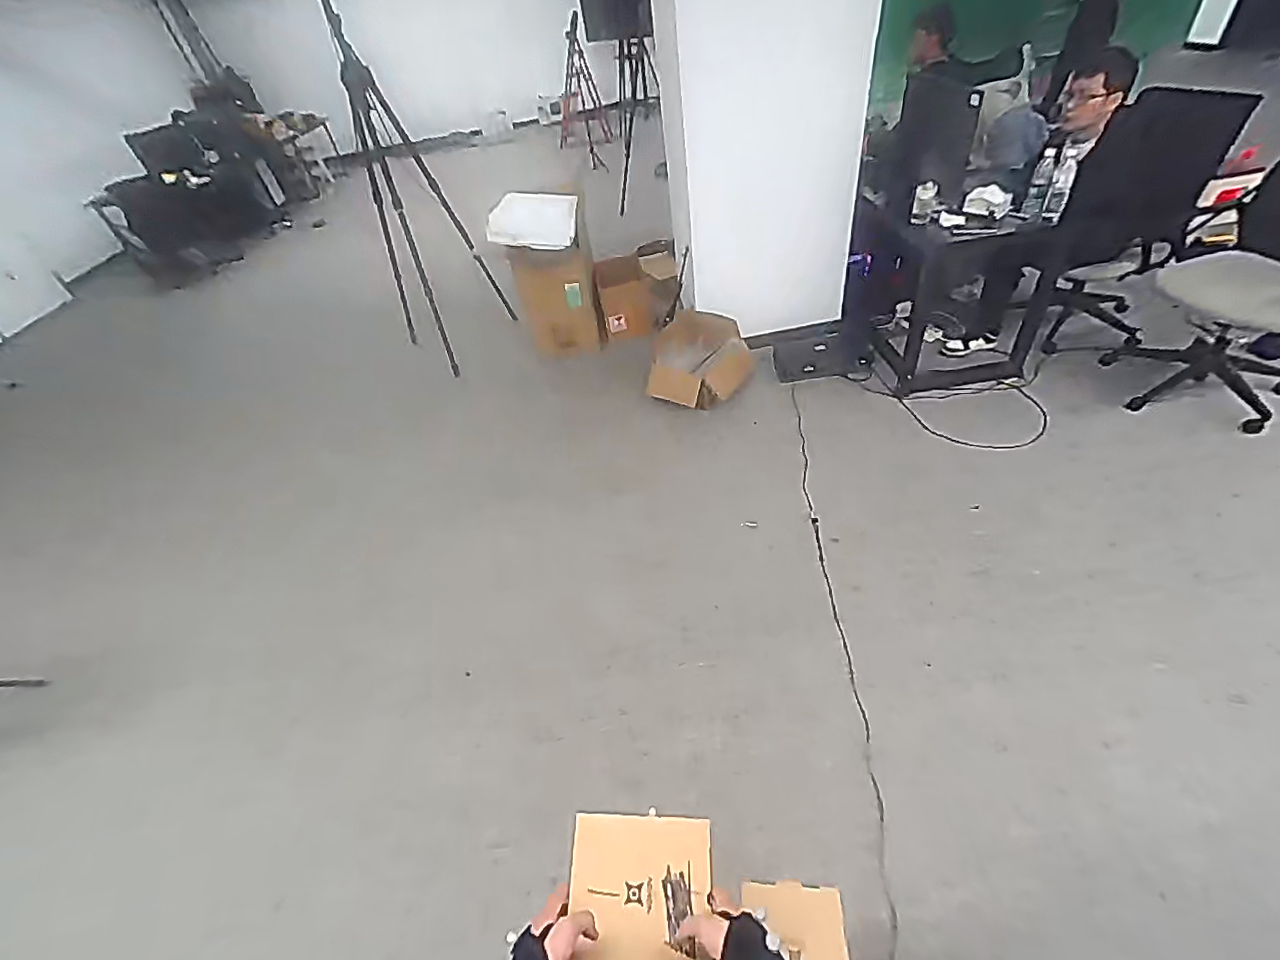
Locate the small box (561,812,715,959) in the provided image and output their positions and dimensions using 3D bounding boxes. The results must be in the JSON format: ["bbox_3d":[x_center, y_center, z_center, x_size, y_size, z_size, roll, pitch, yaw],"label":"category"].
[{"bbox_3d":[0.000,0.546,0.710,0.179,0.176,0.168,2,52,2],"label":"small box"}]

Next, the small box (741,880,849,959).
[{"bbox_3d":[0.257,0.808,0.911,0.168,0.176,0.179,-3,42,9],"label":"small box"}]
